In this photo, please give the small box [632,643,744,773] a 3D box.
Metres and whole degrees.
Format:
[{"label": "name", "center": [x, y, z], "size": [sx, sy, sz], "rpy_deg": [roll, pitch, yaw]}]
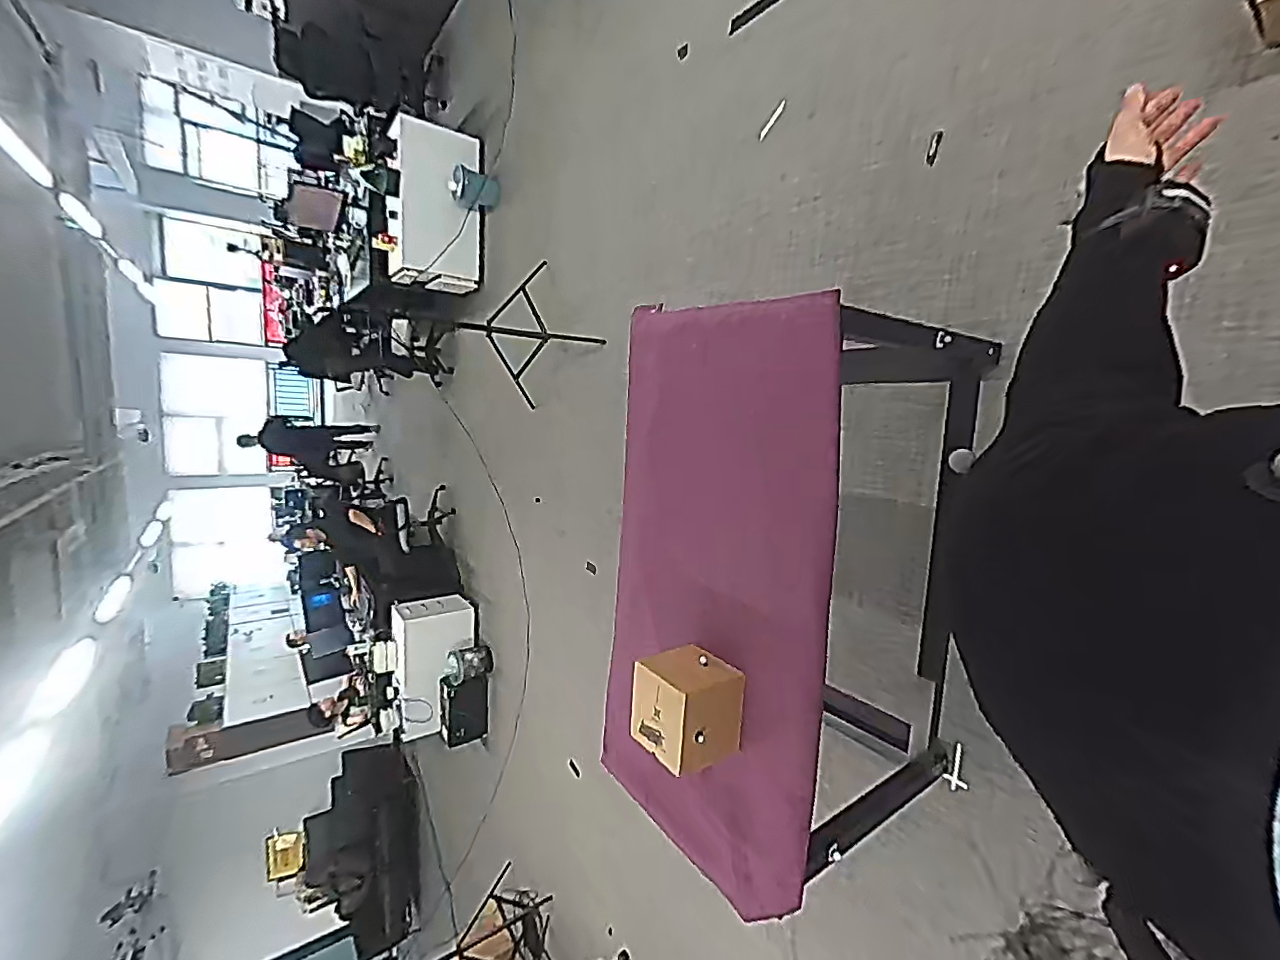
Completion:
[{"label": "small box", "center": [0.101, 0.471, 1.144], "size": [0.168, 0.176, 0.179], "rpy_deg": [14, 103, 53]}]
